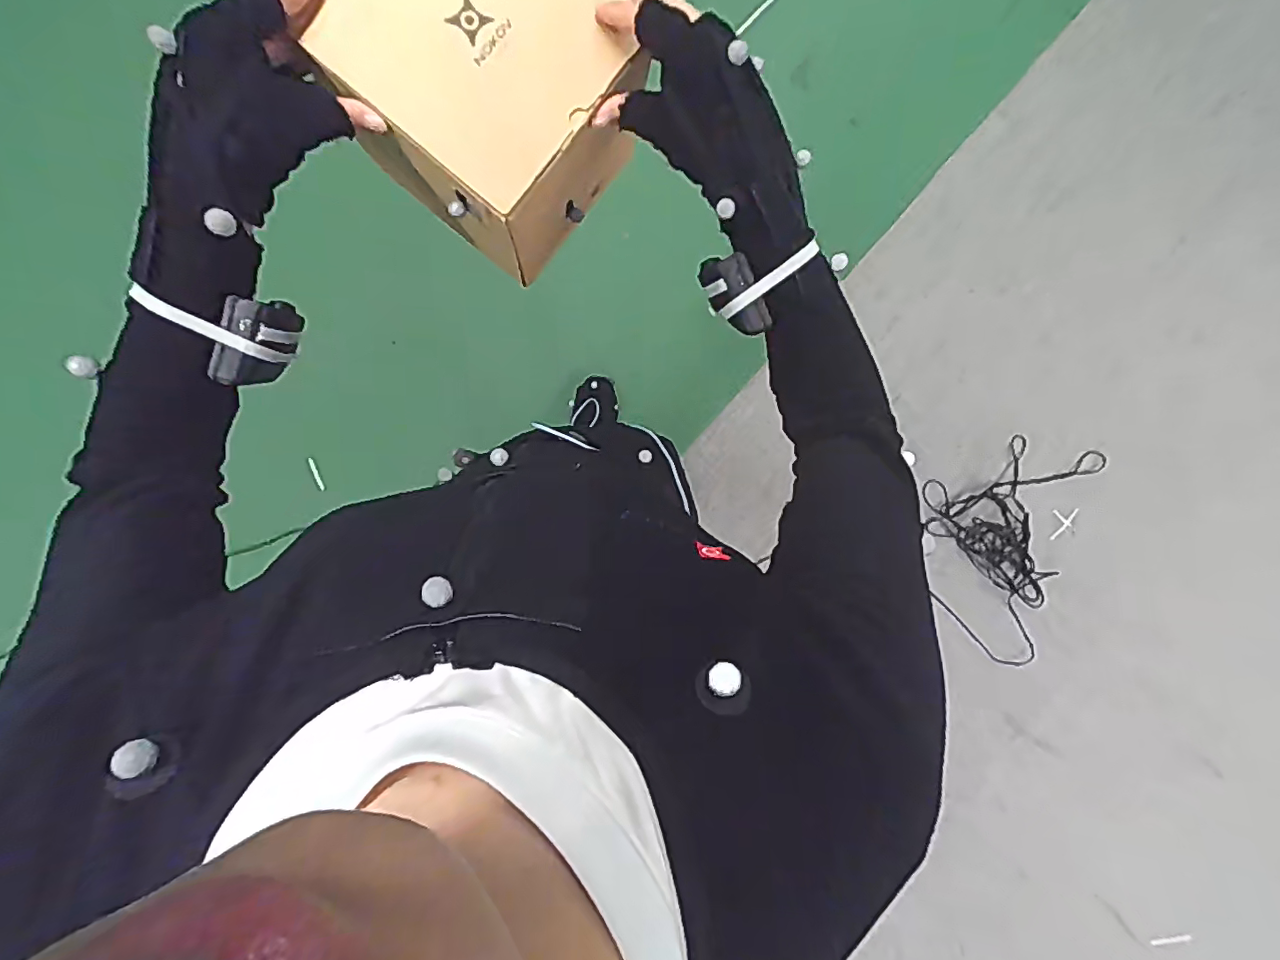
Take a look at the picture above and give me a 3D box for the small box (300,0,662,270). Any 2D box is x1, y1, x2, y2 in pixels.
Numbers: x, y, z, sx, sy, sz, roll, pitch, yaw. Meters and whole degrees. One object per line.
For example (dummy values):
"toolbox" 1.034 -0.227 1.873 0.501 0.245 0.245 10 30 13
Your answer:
"small box" -0.112 -0.302 0.433 0.179 0.176 0.168 38 89 -10
